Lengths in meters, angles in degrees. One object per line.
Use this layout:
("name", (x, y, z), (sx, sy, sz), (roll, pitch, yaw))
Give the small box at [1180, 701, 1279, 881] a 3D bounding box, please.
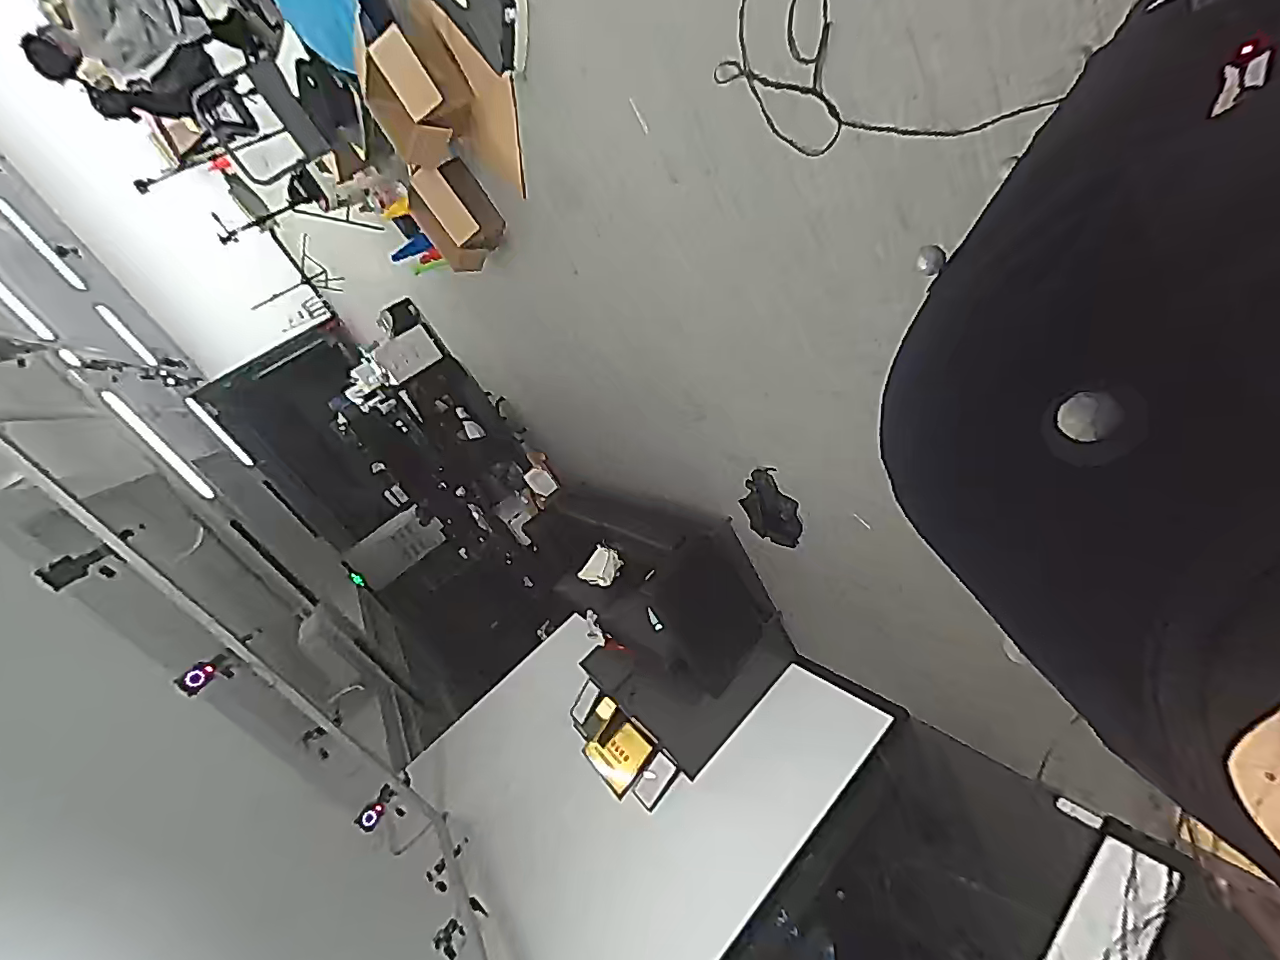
("small box", (0.942, 0.467, 0.799), (0.168, 0.176, 0.179), (14, 141, 59))
